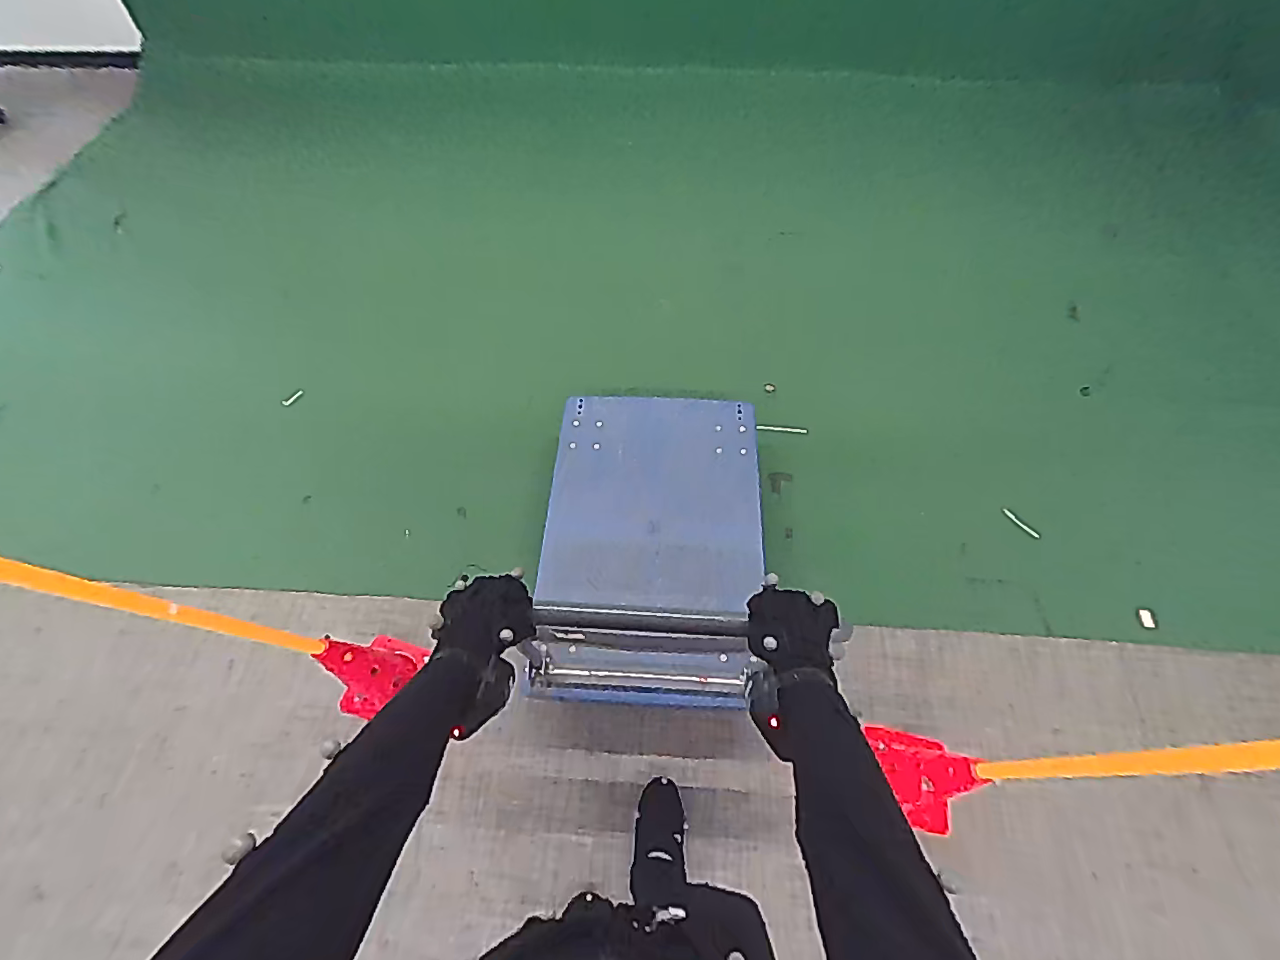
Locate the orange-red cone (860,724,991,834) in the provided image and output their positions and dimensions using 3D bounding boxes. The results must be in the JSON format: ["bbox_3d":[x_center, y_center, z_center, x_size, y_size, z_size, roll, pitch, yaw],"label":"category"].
[{"bbox_3d":[0.619,0.612,1.122,0.198,0.360,0.199,12,61,9],"label":"orange-red cone"}]
